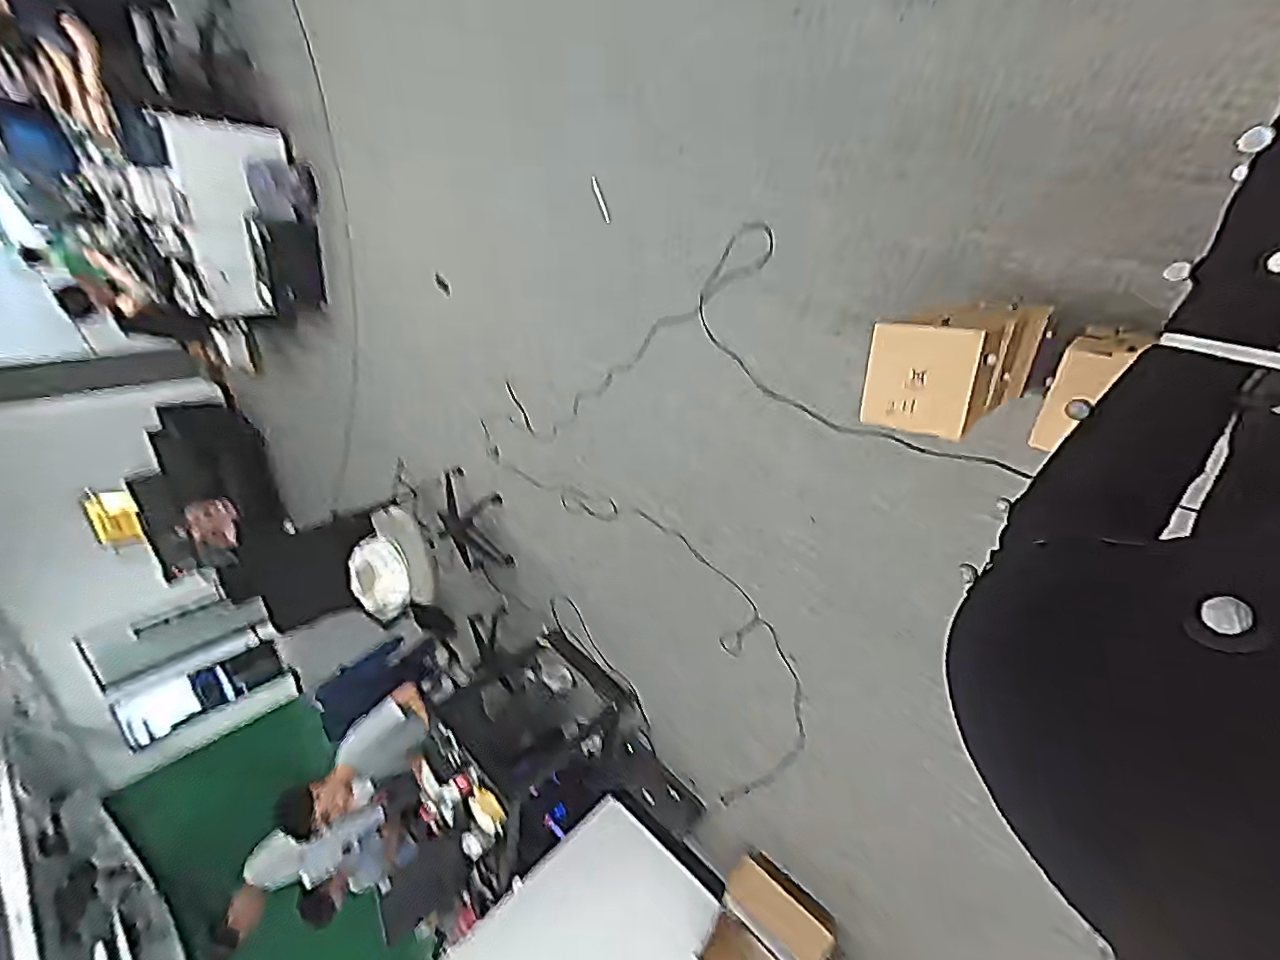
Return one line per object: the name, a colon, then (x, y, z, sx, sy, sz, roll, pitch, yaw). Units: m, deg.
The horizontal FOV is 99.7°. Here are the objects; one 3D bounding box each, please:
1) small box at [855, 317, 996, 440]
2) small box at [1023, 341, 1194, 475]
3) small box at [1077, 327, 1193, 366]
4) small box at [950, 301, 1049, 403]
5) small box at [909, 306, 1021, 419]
small box: (0.503, -0.187, 0.949, 0.168, 0.176, 0.179, 19, 119, 37)
small box: (0.797, -0.135, 0.931, 0.168, 0.176, 0.179, 25, 122, 35)
small box: (0.907, -0.187, 1.042, 0.168, 0.176, 0.179, 29, 126, 33)
small box: (0.745, -0.280, 1.155, 0.168, 0.176, 0.179, 21, 120, 36)
small box: (0.617, -0.237, 1.057, 0.168, 0.176, 0.179, 22, 120, 35)
